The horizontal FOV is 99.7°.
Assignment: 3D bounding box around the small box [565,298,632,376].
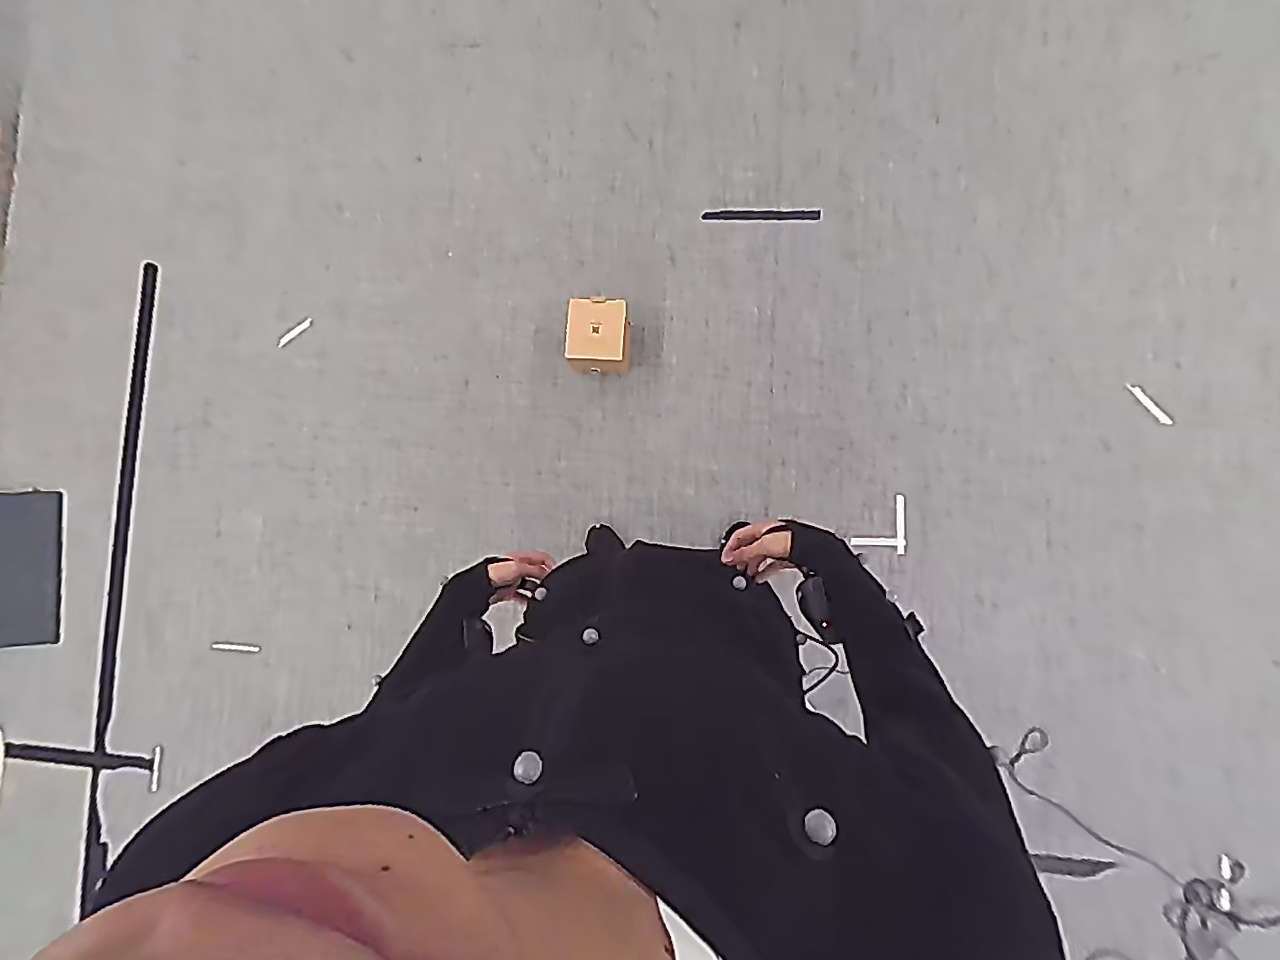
[{"bbox_3d":[-0.116,-0.415,1.588,0.168,0.176,0.179,4,87,5],"label":"small box"}]
